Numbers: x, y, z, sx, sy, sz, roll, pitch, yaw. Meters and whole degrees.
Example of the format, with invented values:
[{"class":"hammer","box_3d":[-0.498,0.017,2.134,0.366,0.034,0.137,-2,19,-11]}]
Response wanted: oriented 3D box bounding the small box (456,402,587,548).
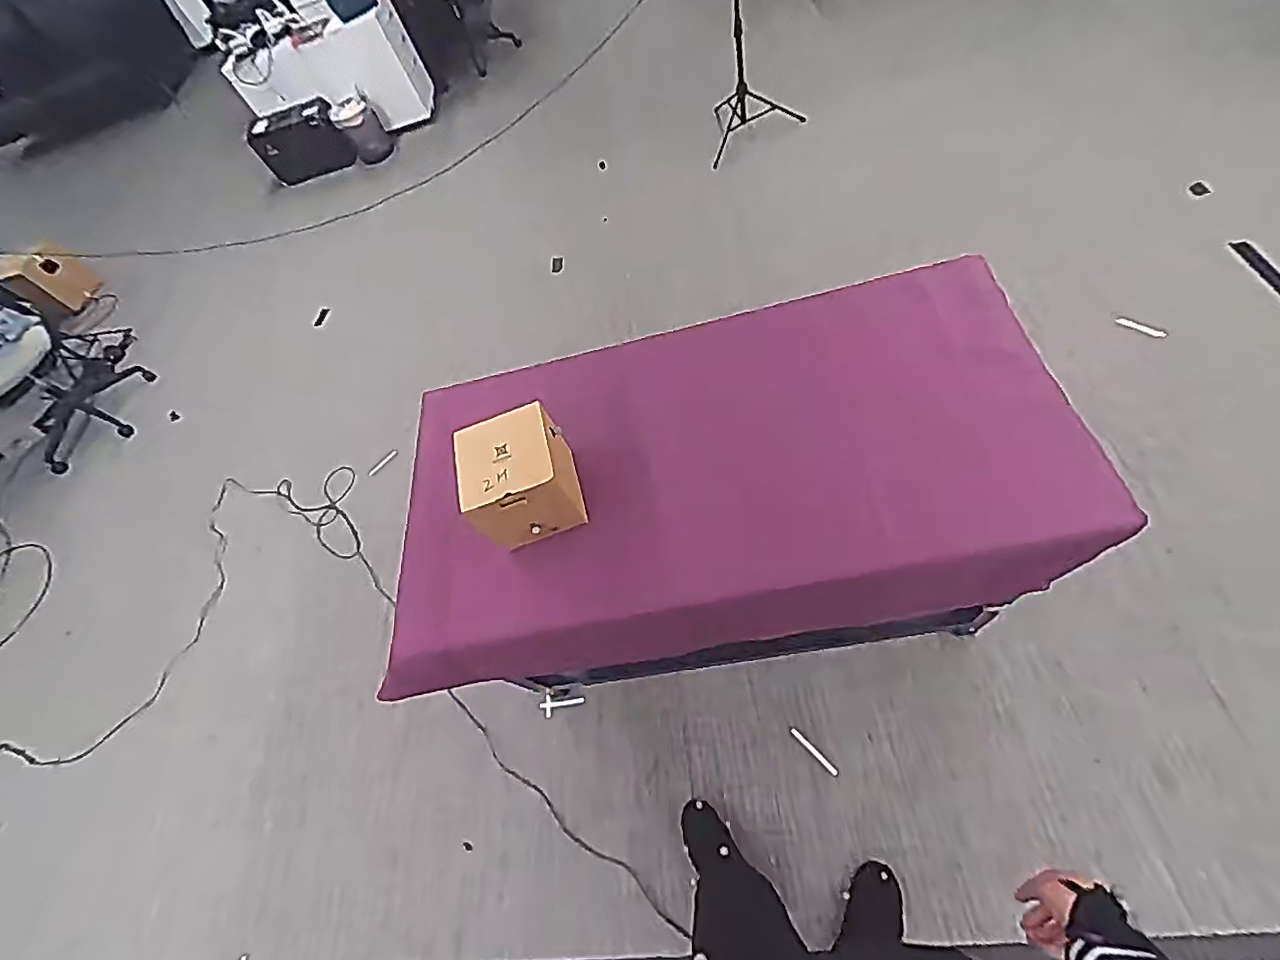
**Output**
[{"class":"small box","box_3d":[-0.210,-0.004,0.972,0.168,0.176,0.179,-20,58,4]}]
